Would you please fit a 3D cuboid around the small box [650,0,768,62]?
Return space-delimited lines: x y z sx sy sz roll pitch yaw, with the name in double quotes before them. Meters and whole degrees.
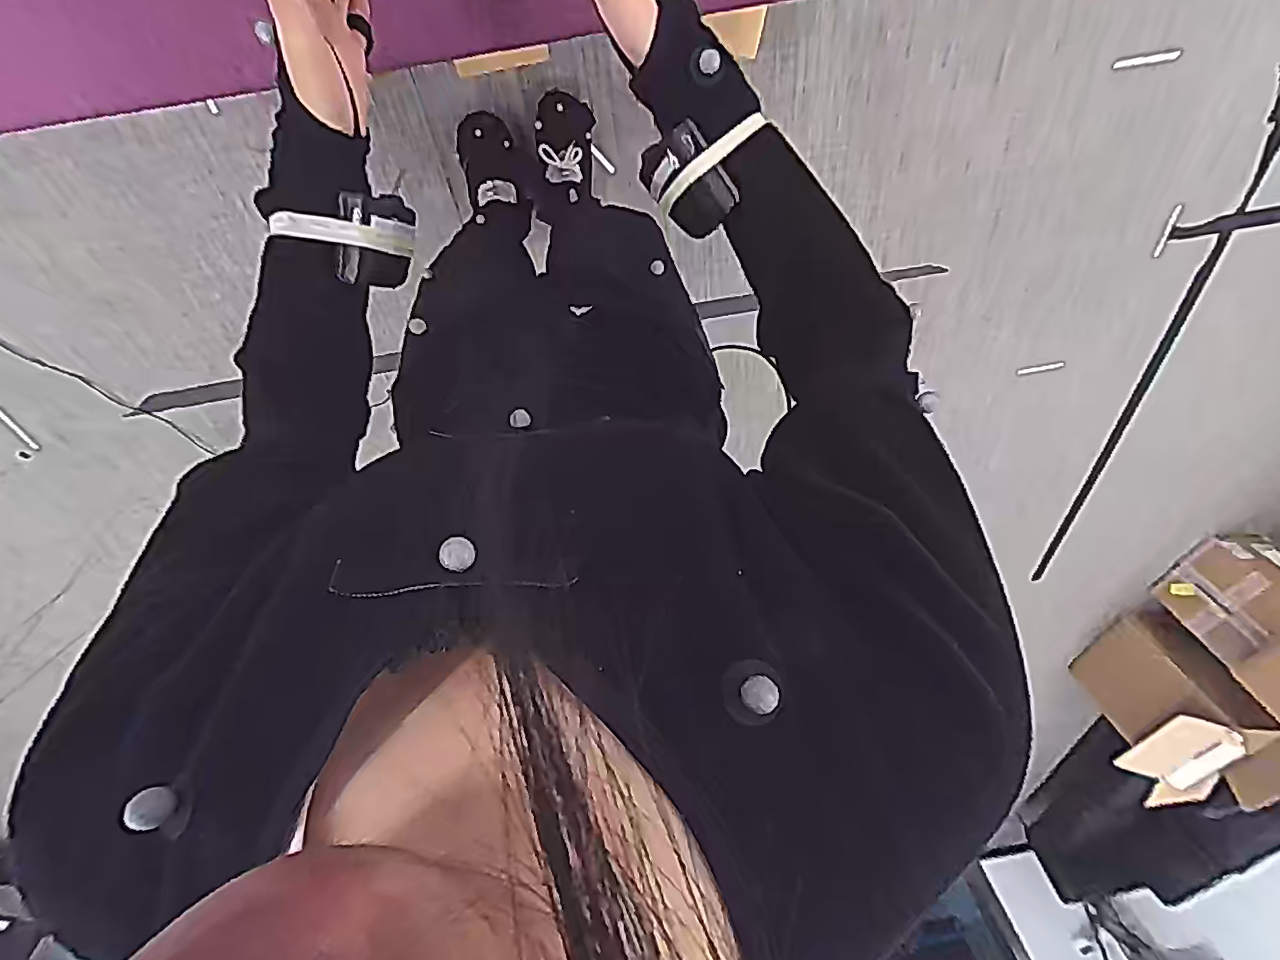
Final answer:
"small box" 0.127 -0.884 0.982 0.179 0.176 0.168 3 129 -12

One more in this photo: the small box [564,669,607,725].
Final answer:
"small box" -0.251 0.997 2.492 0.168 0.176 0.179 -12 132 -1

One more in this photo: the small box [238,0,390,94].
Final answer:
"small box" -0.556 -0.789 0.931 0.168 0.176 0.179 -10 130 -3
